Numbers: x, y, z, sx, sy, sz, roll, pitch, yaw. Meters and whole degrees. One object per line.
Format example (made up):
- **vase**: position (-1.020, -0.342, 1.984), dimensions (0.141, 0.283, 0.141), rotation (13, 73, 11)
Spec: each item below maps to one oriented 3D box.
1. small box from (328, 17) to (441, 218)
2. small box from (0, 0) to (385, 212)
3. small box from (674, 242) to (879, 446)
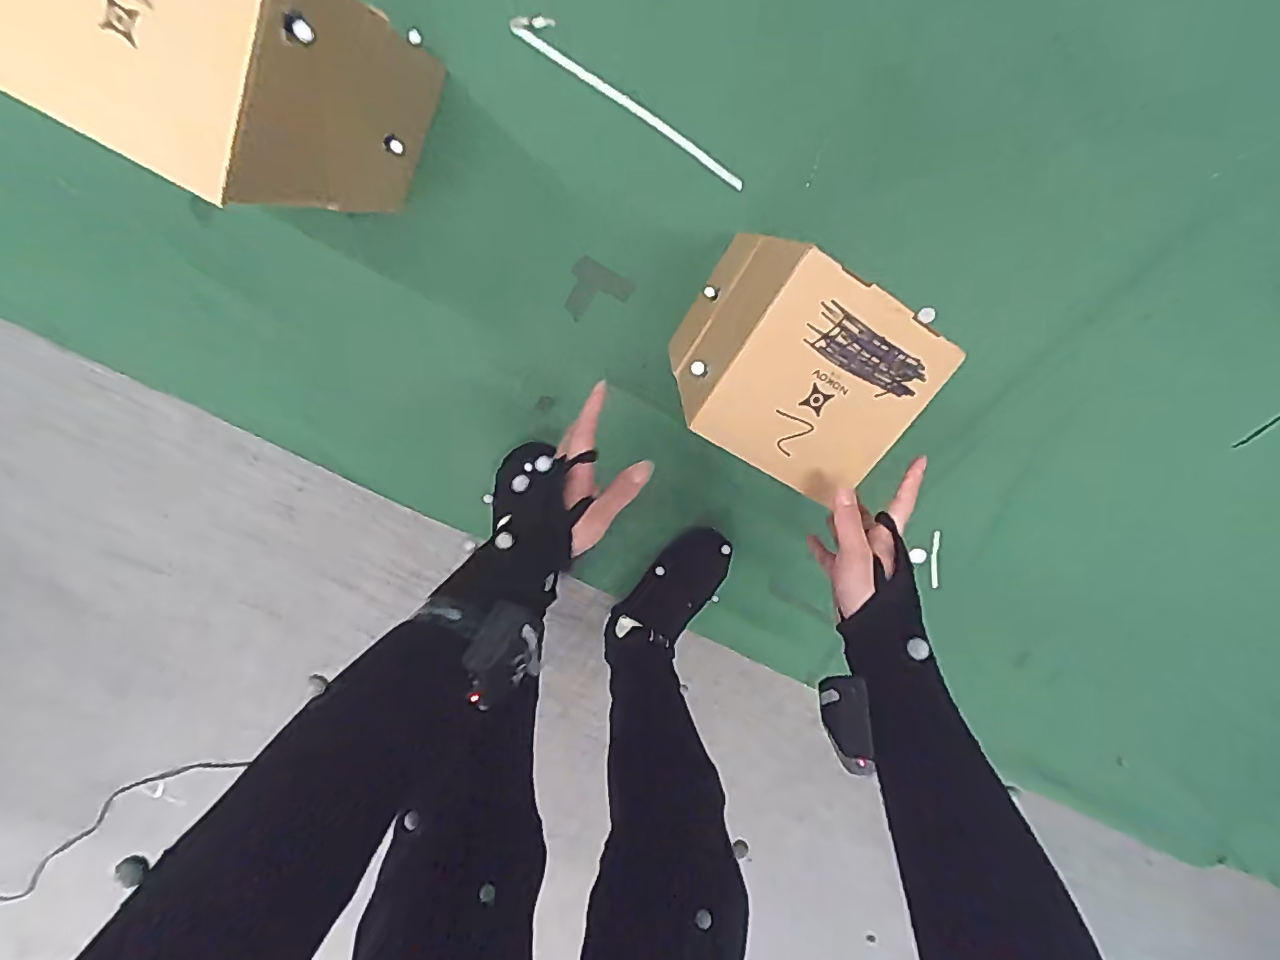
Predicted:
- **small box**: position (-0.336, -0.407, 0.579), dimensions (0.168, 0.176, 0.179), rotation (28, 113, -11)
- **small box**: position (-0.335, -0.338, 0.433), dimensions (0.168, 0.176, 0.179), rotation (27, 112, -11)
- **small box**: position (0.153, -0.178, 0.680), dimensions (0.168, 0.176, 0.179), rotation (29, 113, -12)
